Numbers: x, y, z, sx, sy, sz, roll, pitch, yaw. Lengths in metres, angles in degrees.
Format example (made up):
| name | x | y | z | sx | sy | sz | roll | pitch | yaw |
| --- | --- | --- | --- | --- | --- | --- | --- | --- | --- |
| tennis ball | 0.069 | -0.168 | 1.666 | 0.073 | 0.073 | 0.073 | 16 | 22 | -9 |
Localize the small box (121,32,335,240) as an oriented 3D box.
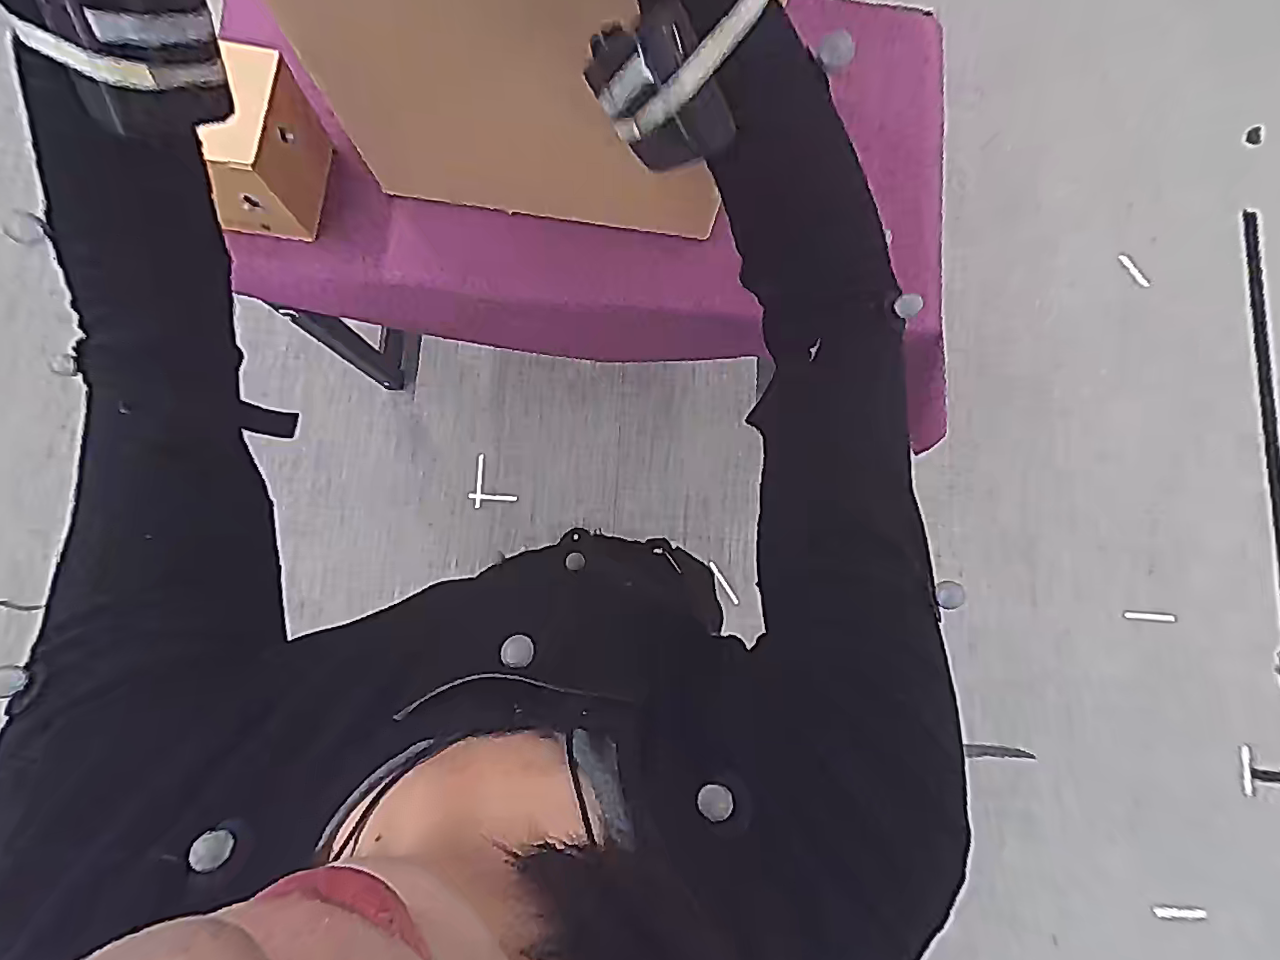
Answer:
| name | x | y | z | sx | sy | sz | roll | pitch | yaw |
| --- | --- | --- | --- | --- | --- | --- | --- | --- | --- |
| small box | -0.566 | -0.475 | 0.771 | 0.168 | 0.176 | 0.179 | 7 | 79 | -6 |
